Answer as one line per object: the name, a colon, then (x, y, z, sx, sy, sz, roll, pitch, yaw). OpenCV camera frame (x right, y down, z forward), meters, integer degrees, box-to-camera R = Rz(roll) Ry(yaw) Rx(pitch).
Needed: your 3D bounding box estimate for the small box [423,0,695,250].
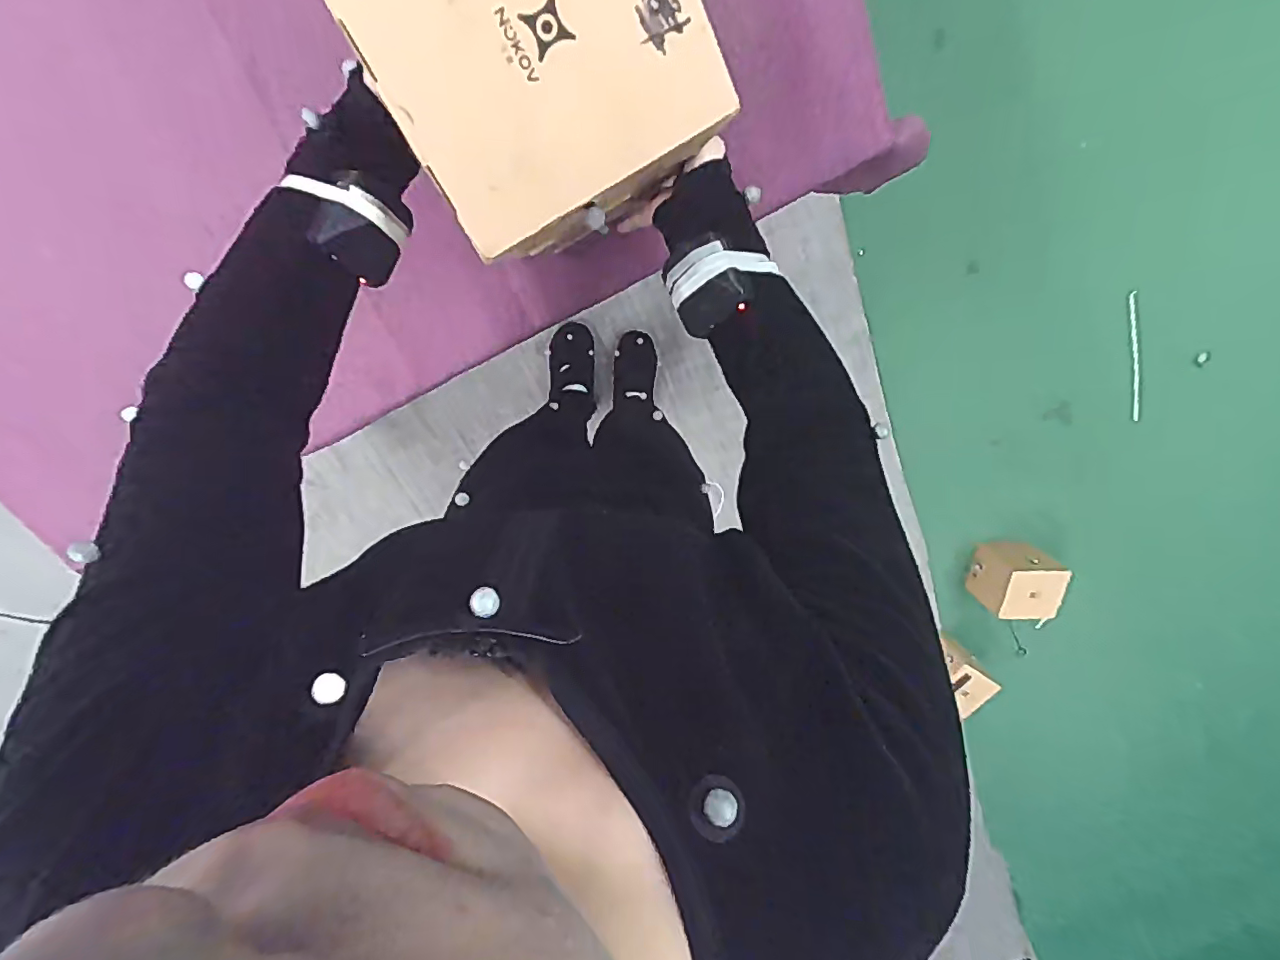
small box: (-0.067, -0.339, 0.518, 0.168, 0.176, 0.179, -27, 112, 9)

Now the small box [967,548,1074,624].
small box: (1.131, 0.314, 1.622, 0.179, 0.176, 0.168, 1, 112, -3)
